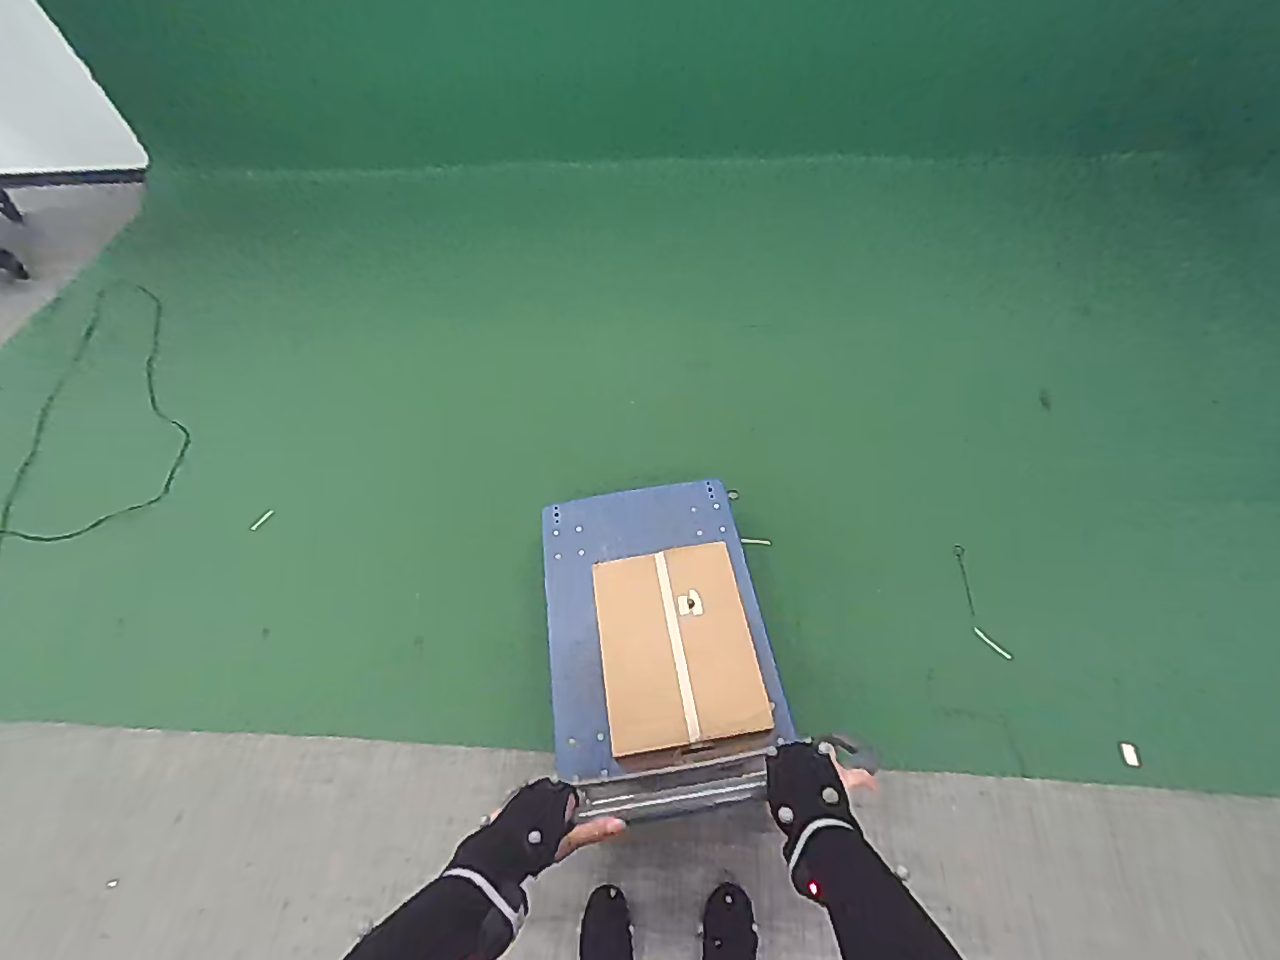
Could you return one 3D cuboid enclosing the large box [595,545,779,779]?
[{"bbox_3d":[0.092,0.417,1.233,0.320,0.320,0.408,-9,55,-2],"label":"large box"}]
